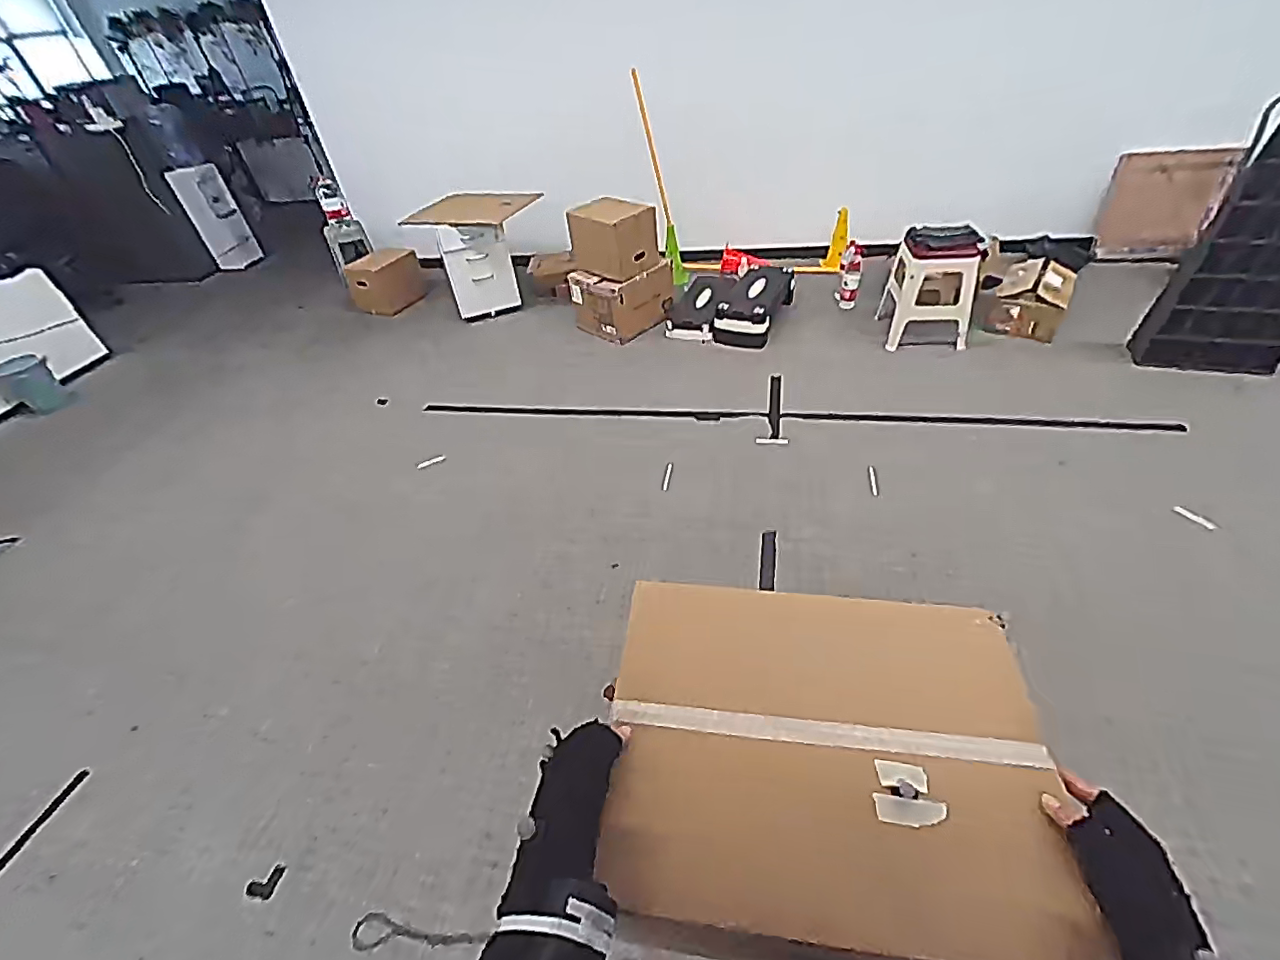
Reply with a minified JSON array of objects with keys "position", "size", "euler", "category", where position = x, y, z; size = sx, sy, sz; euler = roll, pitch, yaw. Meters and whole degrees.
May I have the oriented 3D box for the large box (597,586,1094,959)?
[{"position":[0.180,0.353,0.647],"size":[0.408,0.320,0.320],"euler":[3,46,7],"category":"large box"}]
